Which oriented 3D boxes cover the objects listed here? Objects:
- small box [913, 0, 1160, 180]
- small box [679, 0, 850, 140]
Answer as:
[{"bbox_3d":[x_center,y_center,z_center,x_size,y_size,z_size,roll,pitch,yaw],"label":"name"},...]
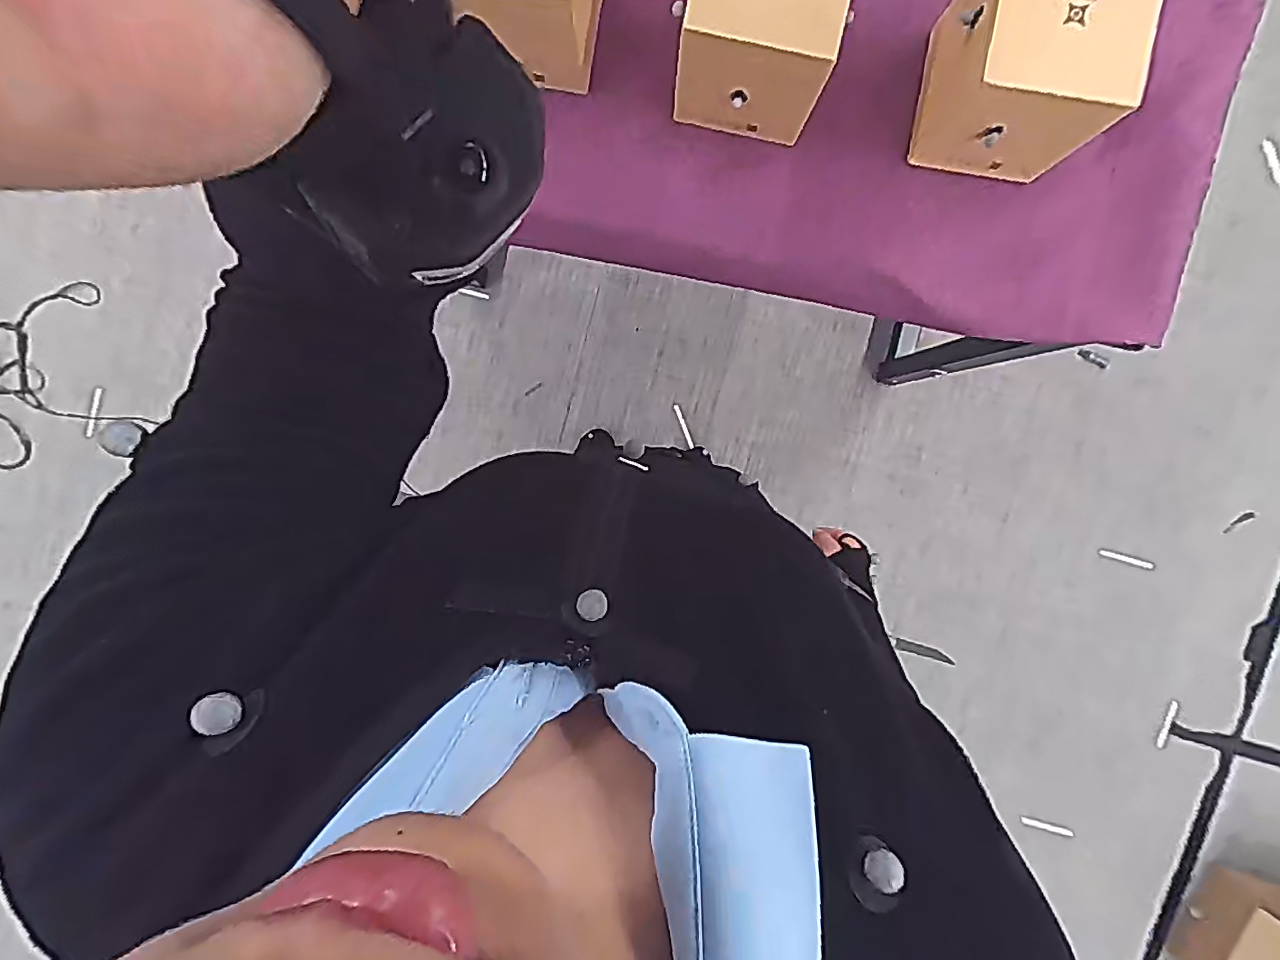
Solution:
[{"bbox_3d":[0.449,-0.486,0.637,0.168,0.176,0.179,10,93,1],"label":"small box"},{"bbox_3d":[0.144,-0.541,0.635,0.168,0.176,0.179,13,94,-1],"label":"small box"}]
